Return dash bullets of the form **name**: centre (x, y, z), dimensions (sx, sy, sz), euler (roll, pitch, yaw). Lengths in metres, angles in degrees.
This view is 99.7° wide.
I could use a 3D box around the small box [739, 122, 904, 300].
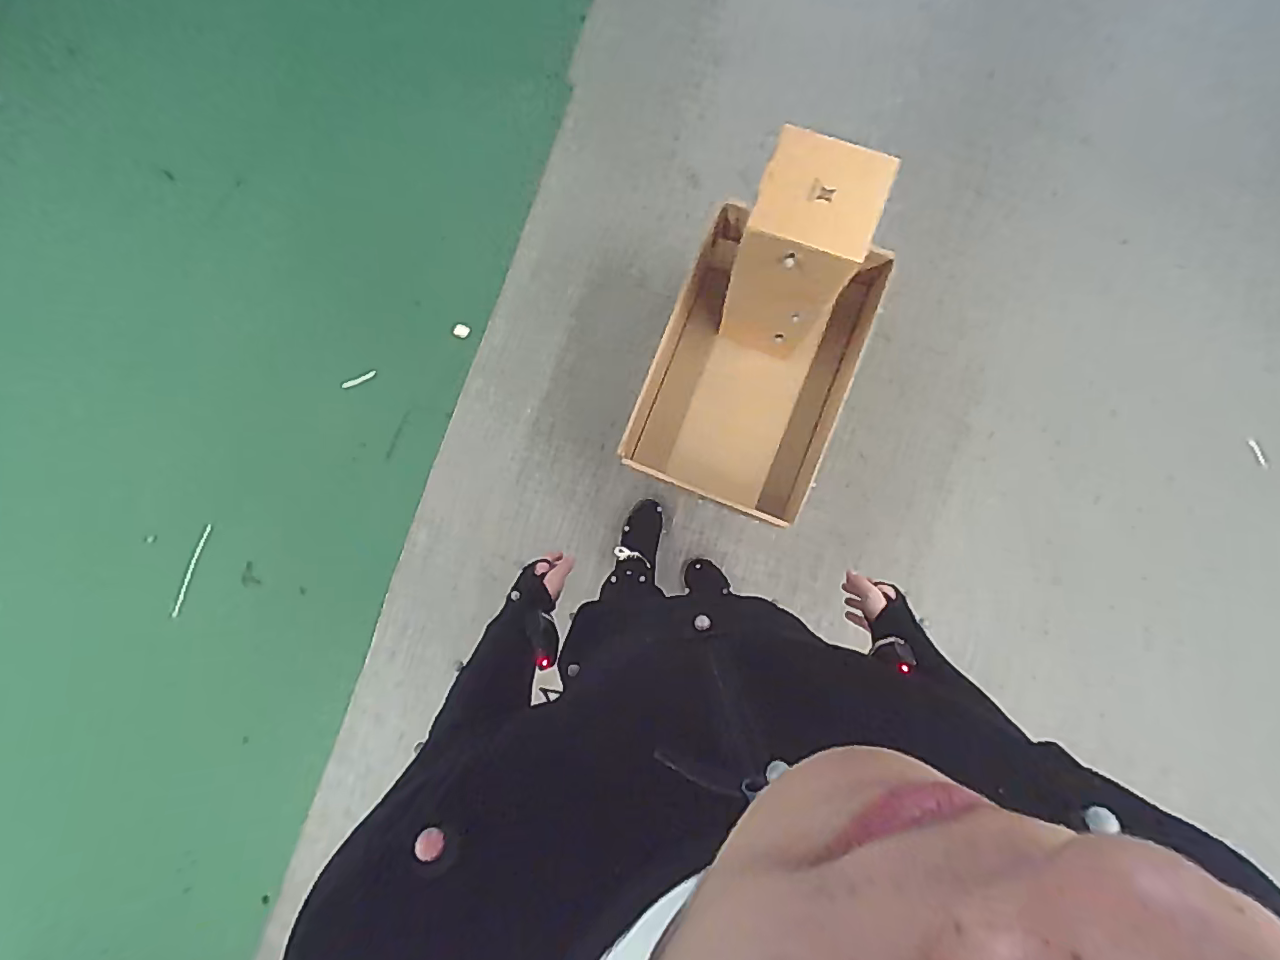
- **small box**: centre (0.270, -0.404, 0.845), dimensions (0.179, 0.176, 0.168), euler (21, 88, 5)
